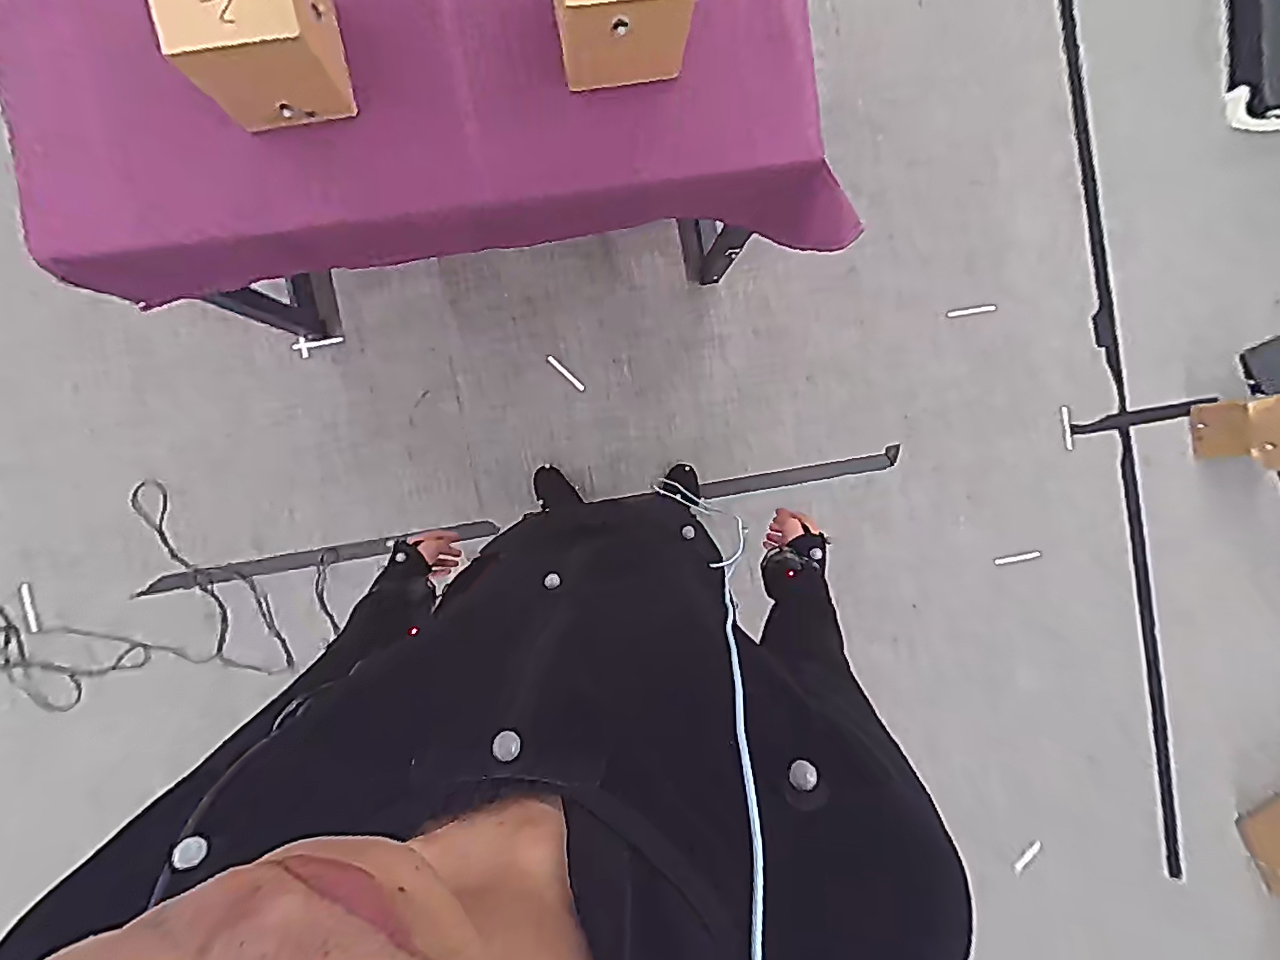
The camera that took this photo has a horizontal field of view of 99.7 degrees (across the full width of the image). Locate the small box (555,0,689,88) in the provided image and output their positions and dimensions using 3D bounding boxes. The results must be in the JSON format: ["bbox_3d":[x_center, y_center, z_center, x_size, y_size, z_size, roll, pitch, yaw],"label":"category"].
[{"bbox_3d":[-0.033,-0.697,0.769,0.179,0.176,0.168,-11,94,-4],"label":"small box"}]
